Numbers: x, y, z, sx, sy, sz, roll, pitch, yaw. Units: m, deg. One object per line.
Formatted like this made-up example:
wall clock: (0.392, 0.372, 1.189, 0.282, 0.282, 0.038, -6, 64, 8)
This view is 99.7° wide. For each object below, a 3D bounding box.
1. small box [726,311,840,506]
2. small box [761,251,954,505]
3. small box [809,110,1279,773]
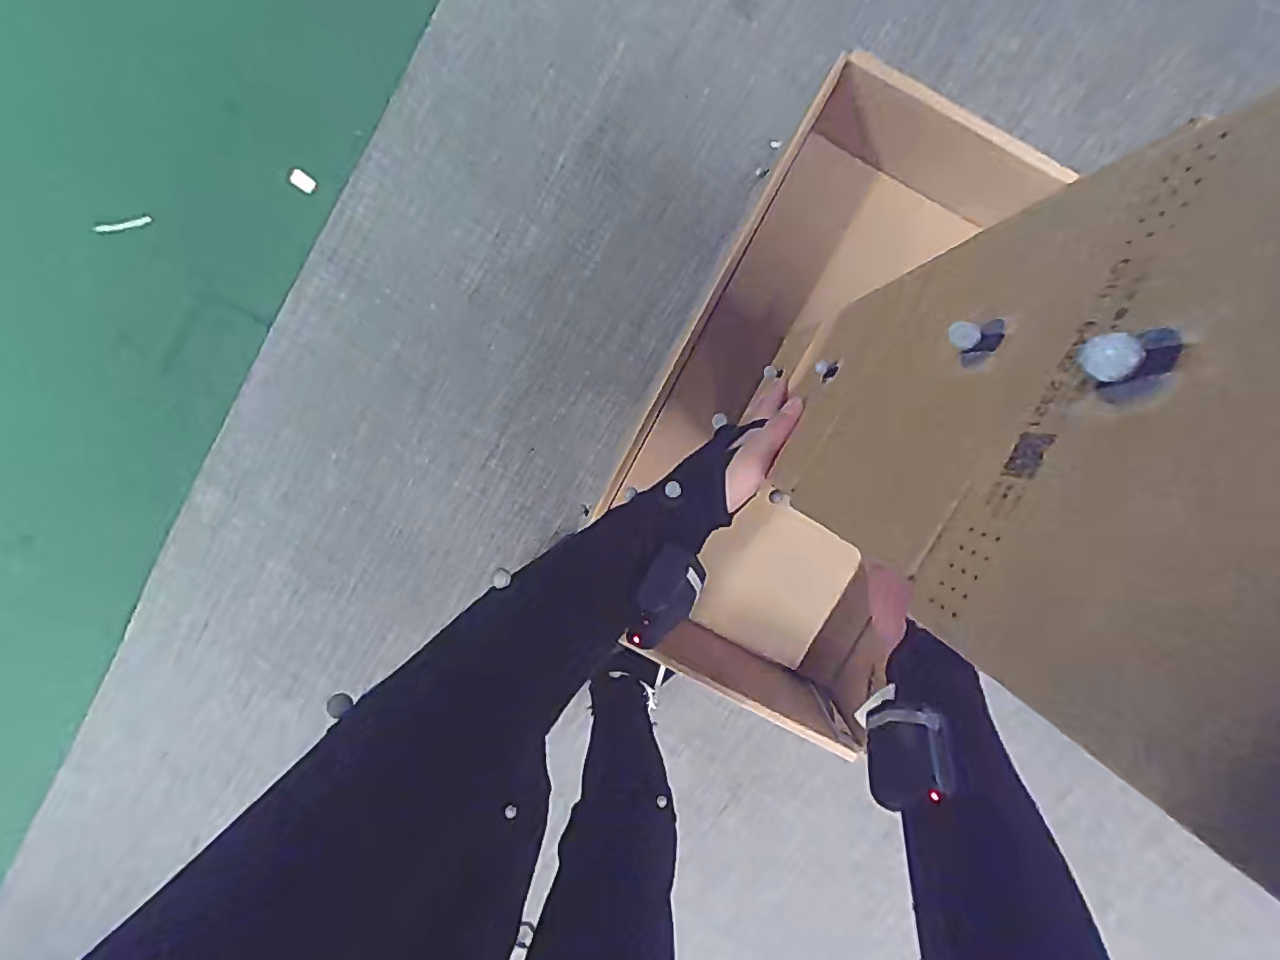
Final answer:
small box: (0.211, -0.055, 0.588, 0.179, 0.176, 0.168, 28, 97, -3)
small box: (0.213, -0.038, 0.425, 0.168, 0.176, 0.179, 30, 96, -3)
small box: (0.208, -0.015, 0.262, 0.168, 0.176, 0.179, 28, 97, -2)
